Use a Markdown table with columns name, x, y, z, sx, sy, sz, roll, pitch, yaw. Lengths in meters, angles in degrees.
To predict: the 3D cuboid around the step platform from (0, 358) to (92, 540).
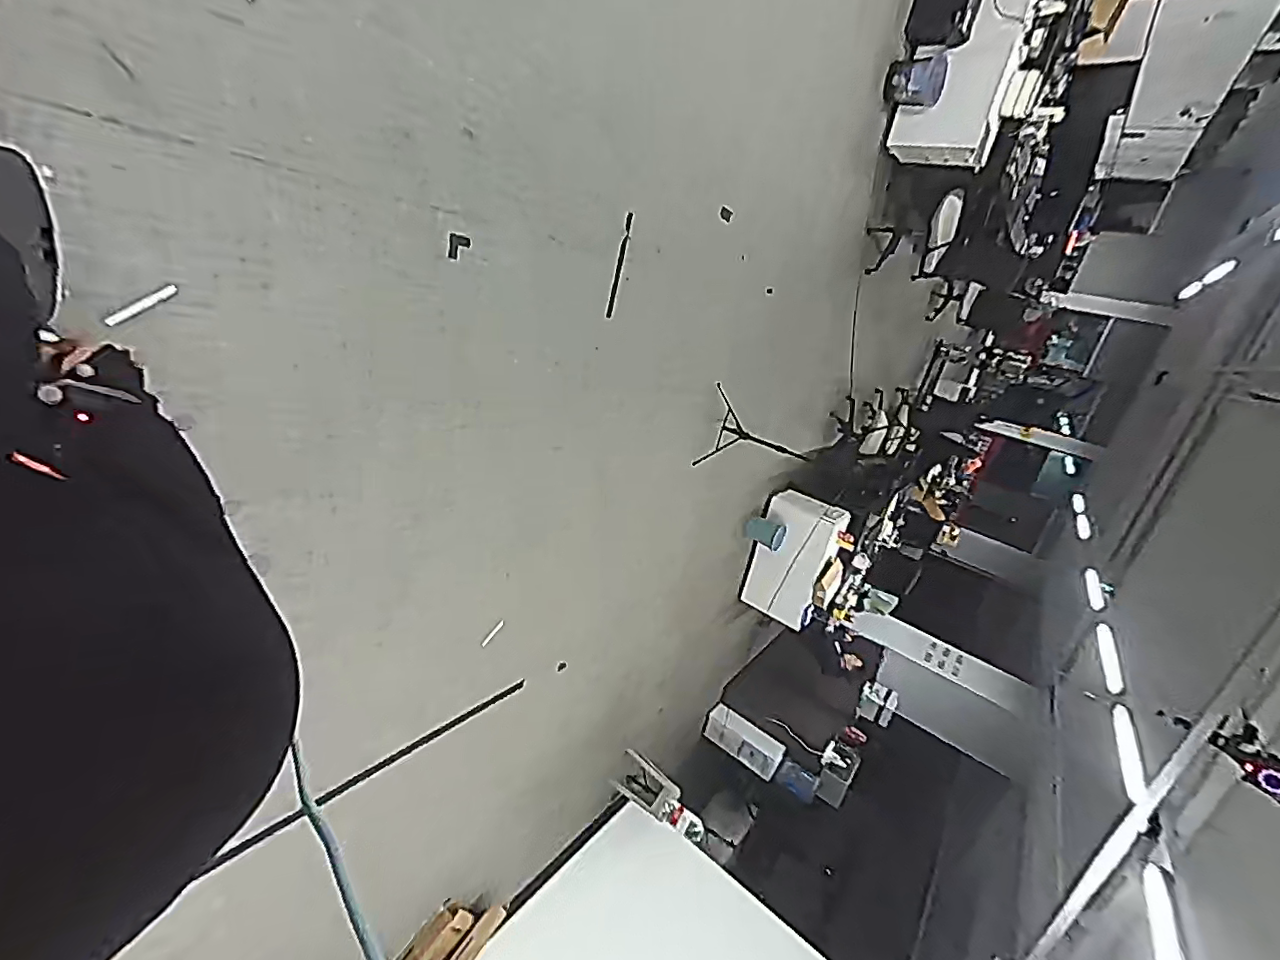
| name | x | y | z | sx | sy | sz | roll | pitch | yaw |
| --- | --- | --- | --- | --- | --- | --- | --- | --- | --- |
| step platform | -1.248 | -0.040 | 0.752 | 0.684 | 0.204 | 0.286 | -5 | 114 | -53 |
